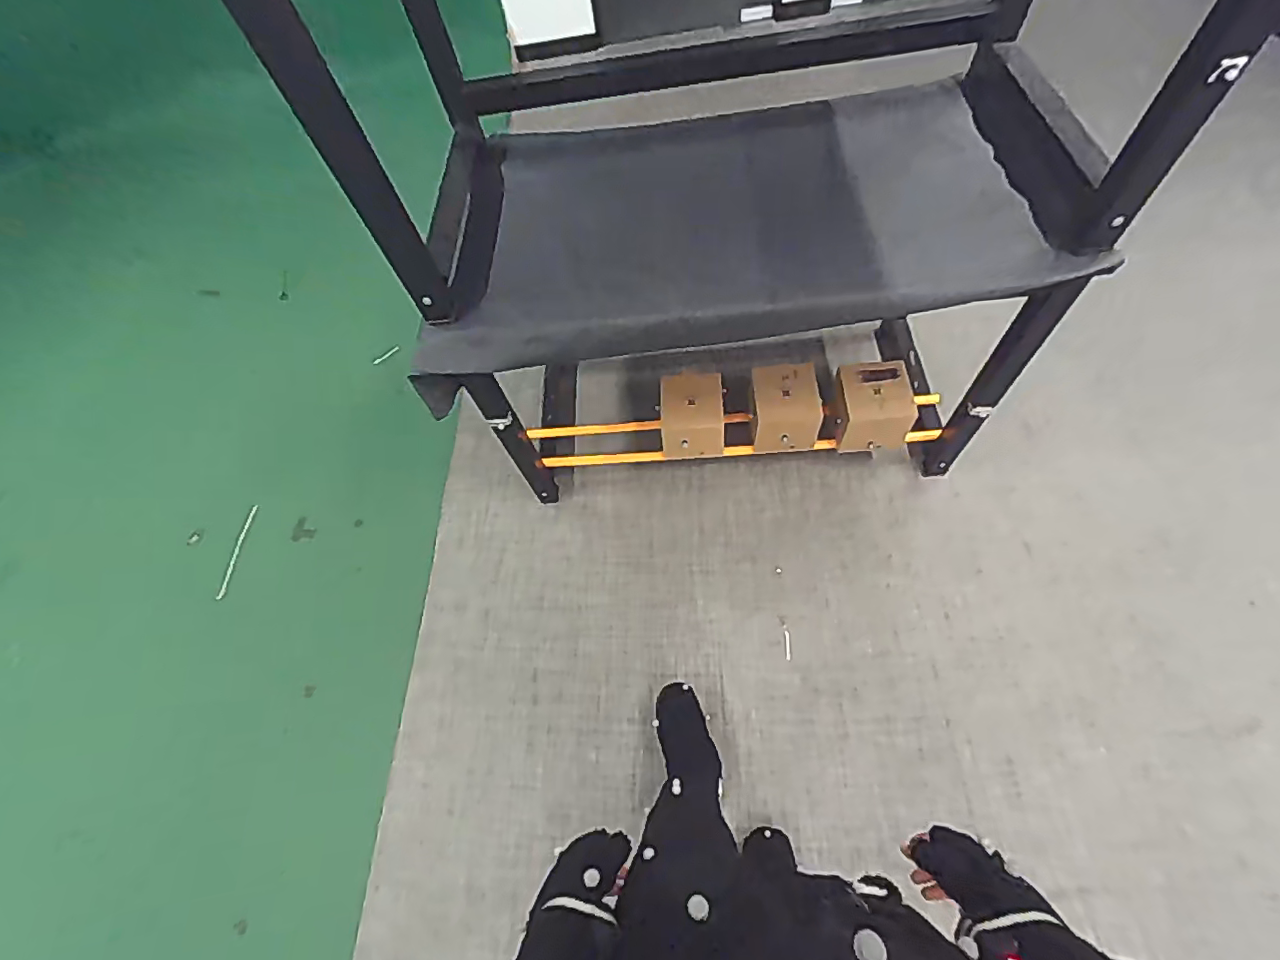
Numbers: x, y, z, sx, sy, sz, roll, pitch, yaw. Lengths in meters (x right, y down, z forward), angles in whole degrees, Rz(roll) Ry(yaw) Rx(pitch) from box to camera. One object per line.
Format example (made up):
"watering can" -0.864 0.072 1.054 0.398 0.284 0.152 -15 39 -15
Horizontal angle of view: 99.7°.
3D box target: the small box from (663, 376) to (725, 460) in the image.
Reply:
"small box" 0.151 -0.165 1.502 0.168 0.176 0.179 -2 62 6

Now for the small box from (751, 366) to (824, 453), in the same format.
"small box" 0.396 -0.185 1.477 0.168 0.176 0.179 -4 61 6
